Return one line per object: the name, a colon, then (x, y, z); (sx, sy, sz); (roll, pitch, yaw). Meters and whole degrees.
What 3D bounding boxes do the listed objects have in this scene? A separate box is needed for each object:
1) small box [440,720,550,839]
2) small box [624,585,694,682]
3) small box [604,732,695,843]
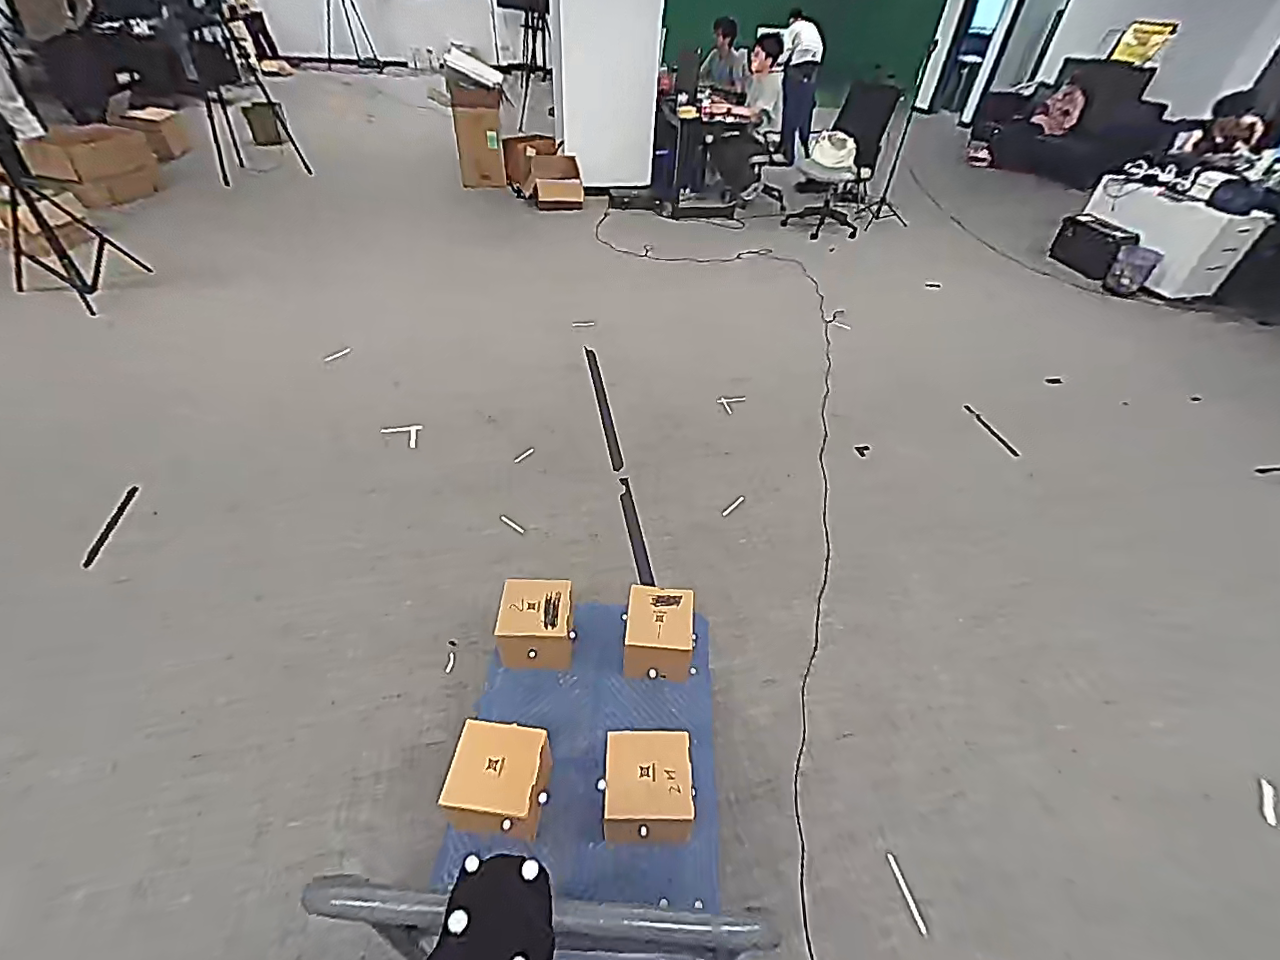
small box: (-0.294, 0.633, 1.138); (0.179, 0.176, 0.168); (7, 43, 1)
small box: (0.049, 0.401, 1.410); (0.168, 0.176, 0.179); (5, 44, 1)
small box: (0.016, 0.650, 1.142); (0.179, 0.176, 0.168); (2, 43, -2)
